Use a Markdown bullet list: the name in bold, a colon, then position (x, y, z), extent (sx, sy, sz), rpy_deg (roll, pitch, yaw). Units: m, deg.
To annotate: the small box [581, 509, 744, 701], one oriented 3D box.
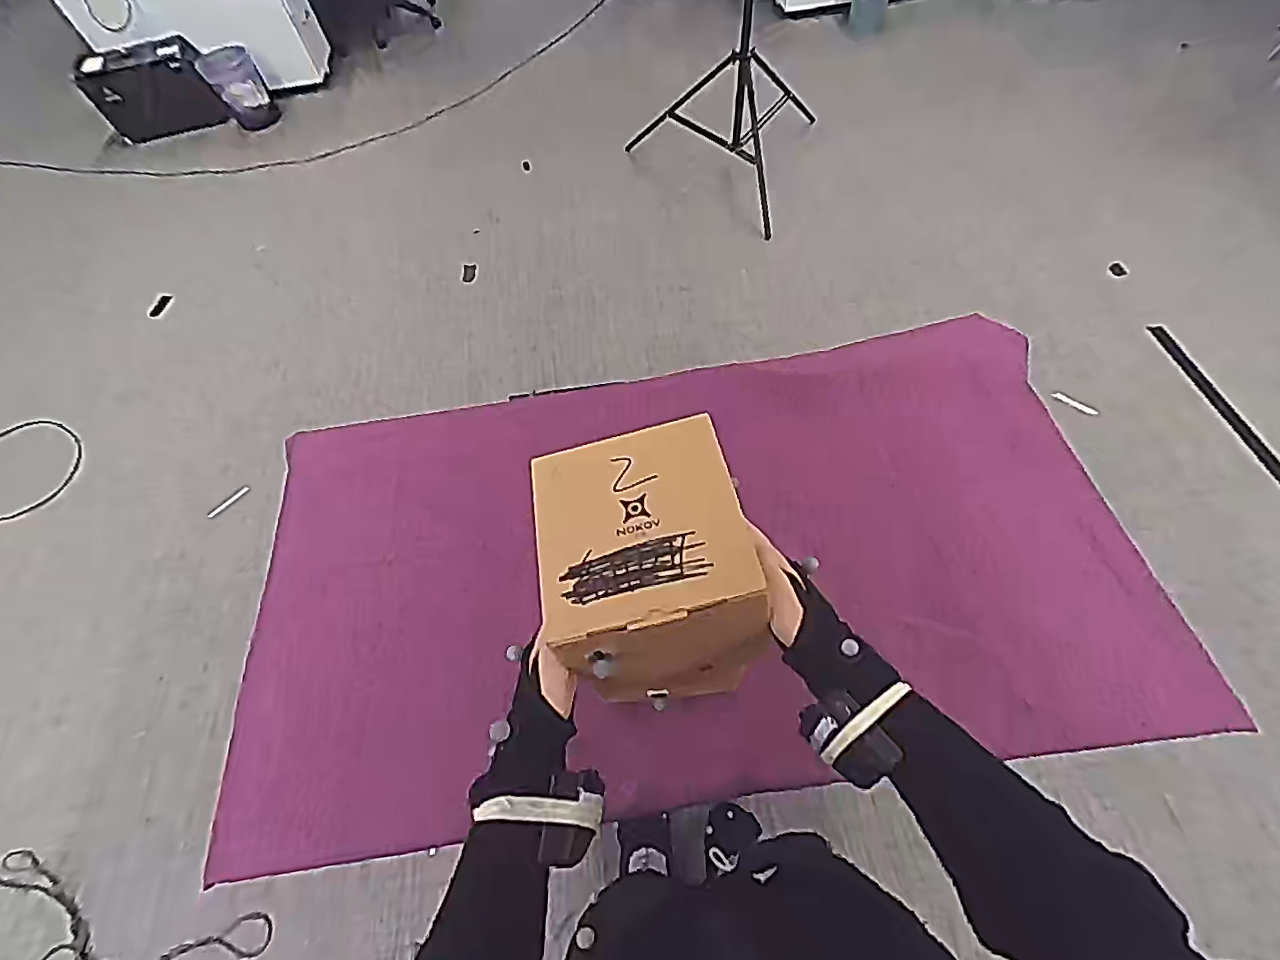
- **small box**: position (0.023, 0.156, 0.654), extent (0.168, 0.176, 0.179), rpy_deg (-7, 60, 1)
